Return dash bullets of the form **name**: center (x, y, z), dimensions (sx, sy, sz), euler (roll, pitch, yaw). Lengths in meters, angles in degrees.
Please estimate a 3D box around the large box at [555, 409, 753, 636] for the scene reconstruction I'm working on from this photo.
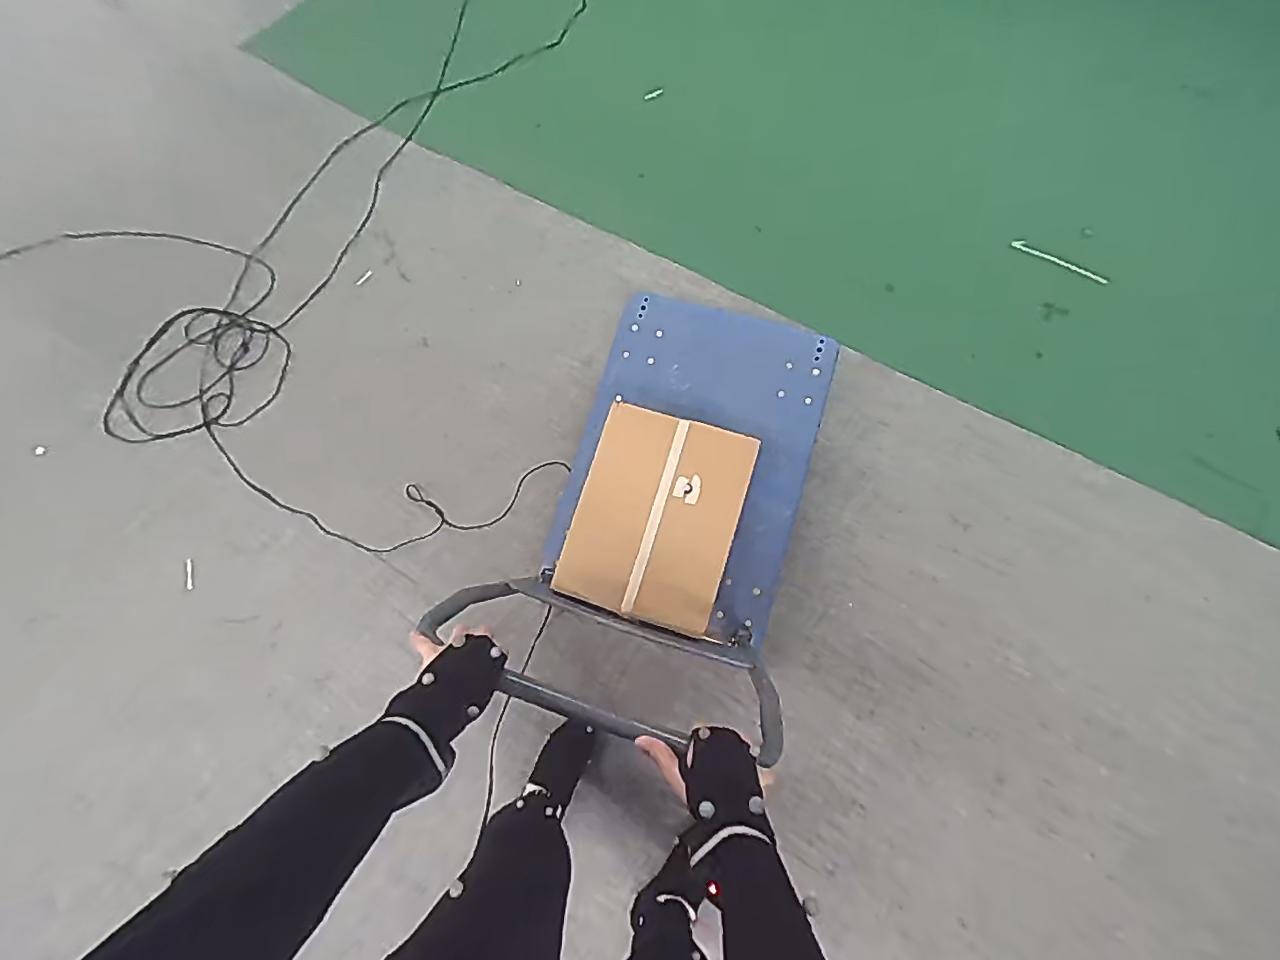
- **large box**: center (0.045, 0.107, 1.228), dimensions (0.320, 0.320, 0.408), euler (16, 80, 8)
